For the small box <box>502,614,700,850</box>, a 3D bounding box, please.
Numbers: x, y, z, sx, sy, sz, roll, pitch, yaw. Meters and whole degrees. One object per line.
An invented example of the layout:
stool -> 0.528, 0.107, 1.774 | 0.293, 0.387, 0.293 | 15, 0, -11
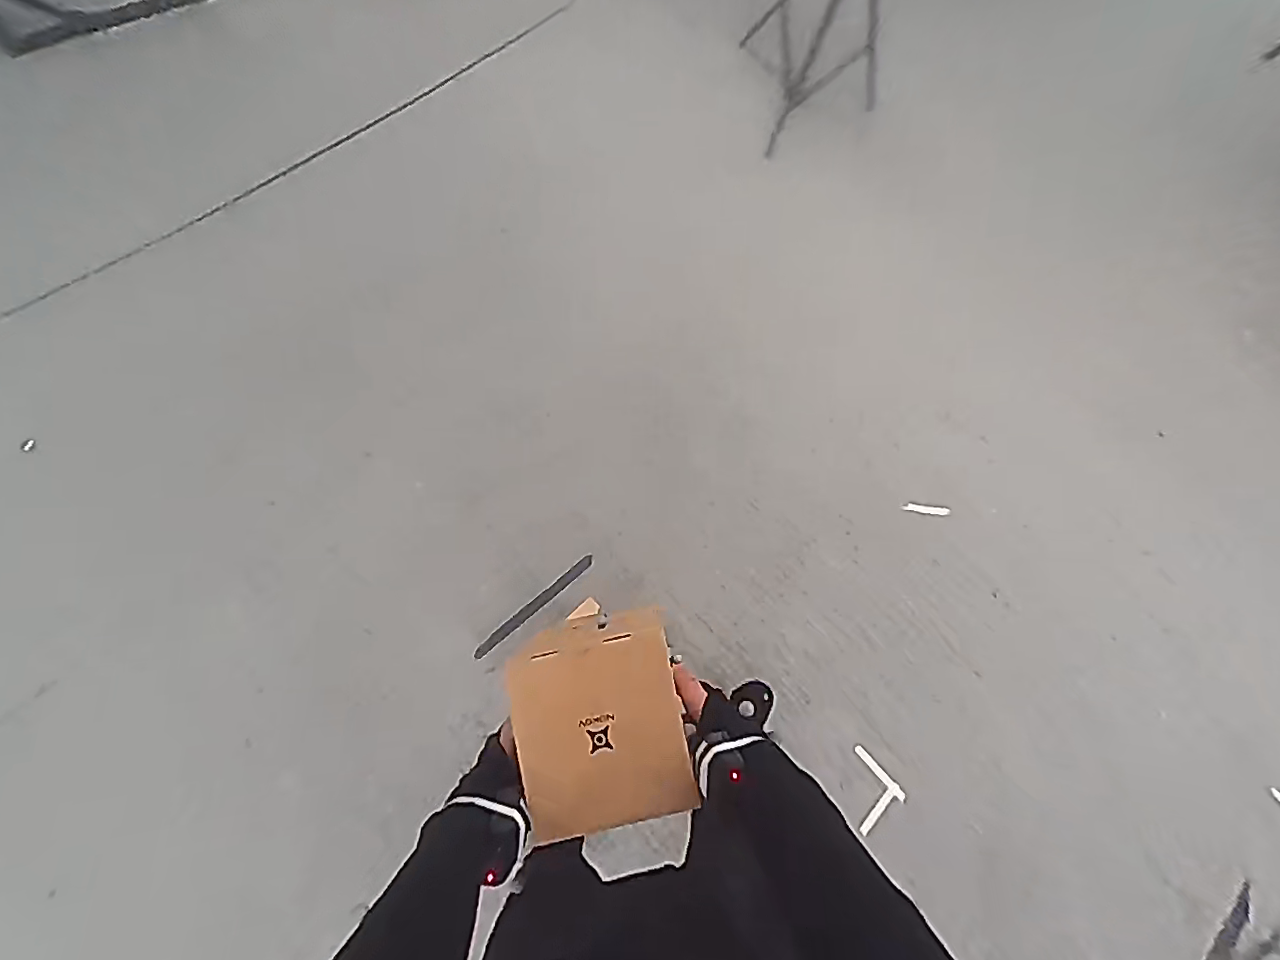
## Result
small box -> -0.037, 0.261, 0.602 | 0.168, 0.176, 0.179 | -13, 82, -2
